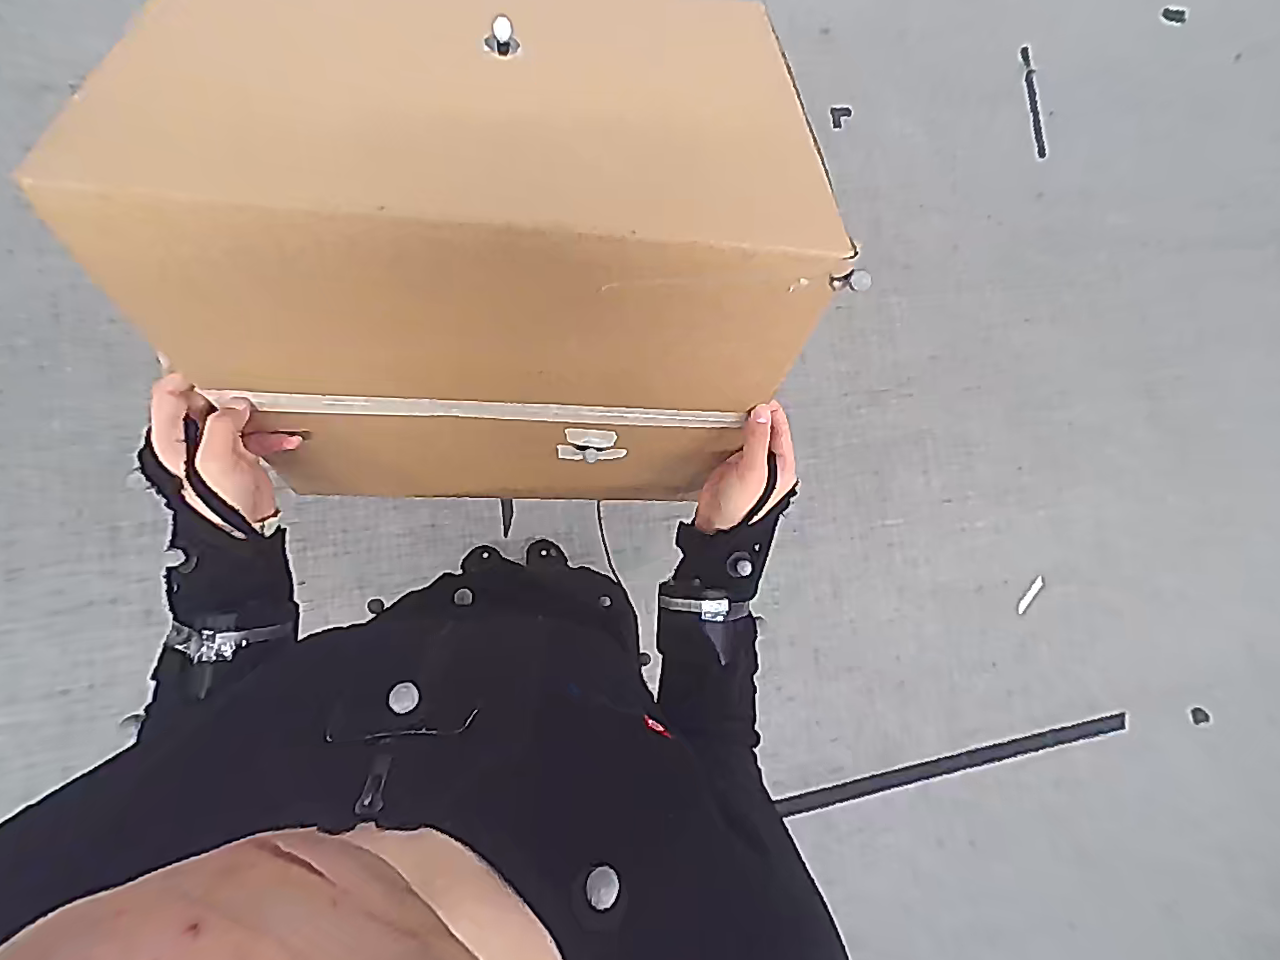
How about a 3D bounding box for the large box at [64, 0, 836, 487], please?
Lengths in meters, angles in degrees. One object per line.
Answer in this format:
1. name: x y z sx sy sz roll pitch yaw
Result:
1. large box: -0.112 -0.198 0.482 0.408 0.320 0.320 0 63 -9
